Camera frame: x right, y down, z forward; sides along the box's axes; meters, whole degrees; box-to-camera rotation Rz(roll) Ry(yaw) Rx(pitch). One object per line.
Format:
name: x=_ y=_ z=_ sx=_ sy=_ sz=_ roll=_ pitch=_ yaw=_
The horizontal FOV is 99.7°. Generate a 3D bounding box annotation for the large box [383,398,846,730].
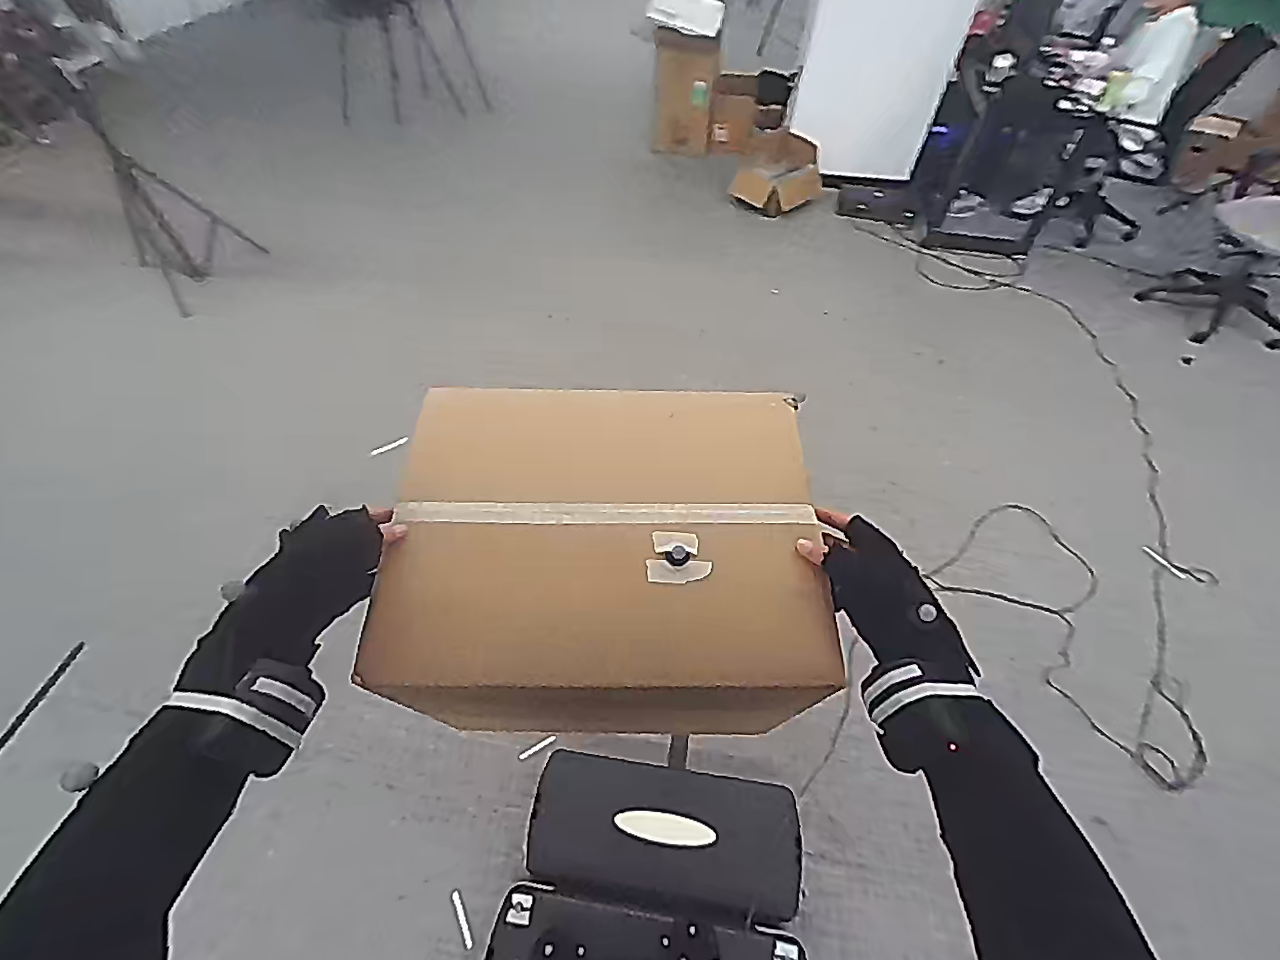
large box: x=-0.026 y=0.117 z=0.660 sx=0.408 sy=0.320 sz=0.320 roll=1 pitch=59 yaw=-1

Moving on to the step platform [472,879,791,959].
step platform: x=-0.018 y=1.076 z=1.150 sx=0.684 sy=0.204 sz=0.286 roll=6 pitch=52 yaw=5
